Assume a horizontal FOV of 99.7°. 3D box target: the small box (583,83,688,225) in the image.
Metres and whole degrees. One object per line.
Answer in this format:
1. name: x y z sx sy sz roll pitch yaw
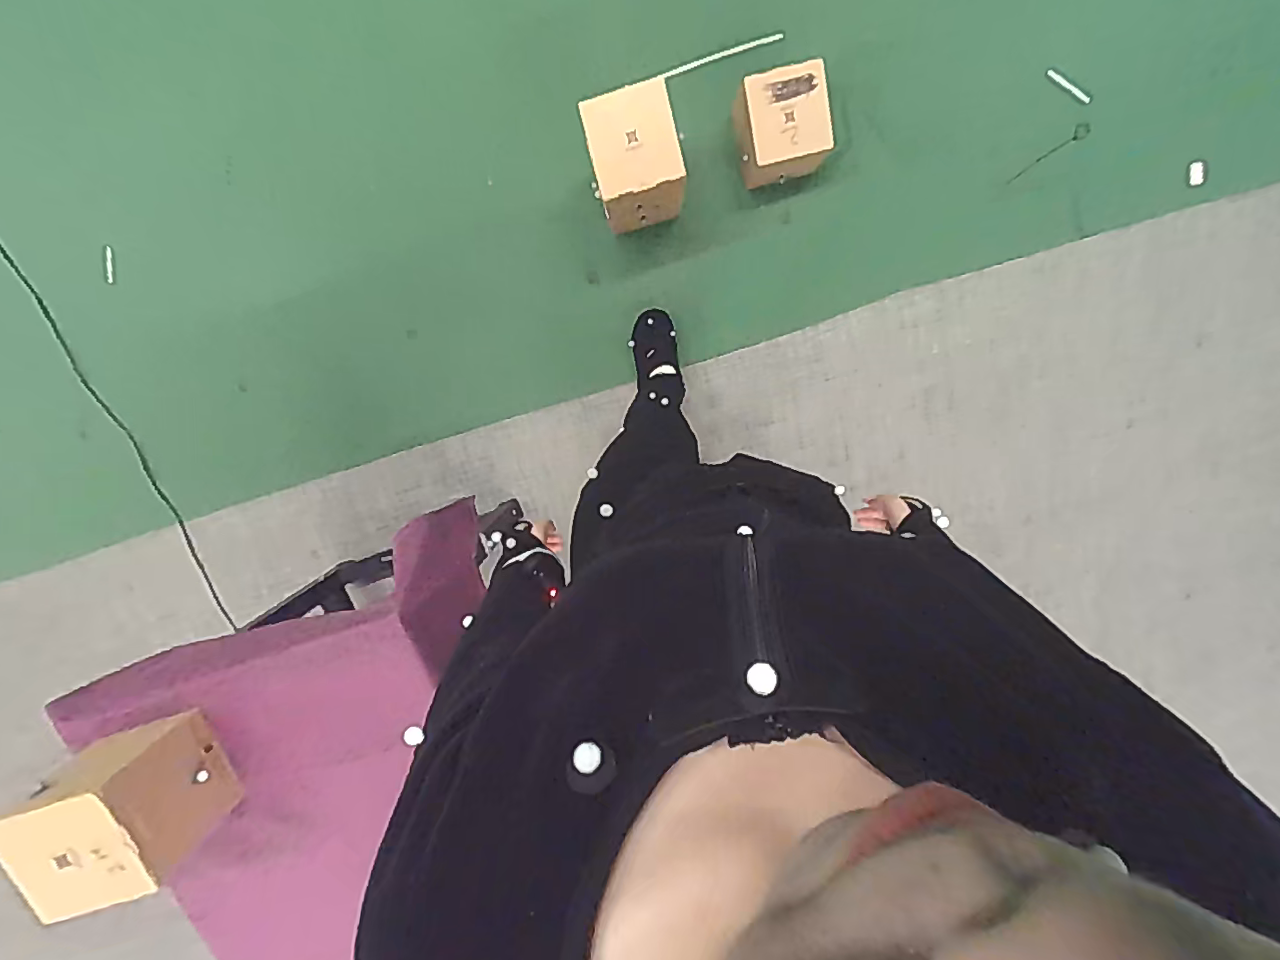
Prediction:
1. small box: -0.006 -0.644 1.090 0.168 0.176 0.179 -14 102 6

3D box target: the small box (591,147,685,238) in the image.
1. small box: -0.001 -0.681 1.249 0.179 0.176 0.168 -14 101 7

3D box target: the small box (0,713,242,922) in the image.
1. small box: -0.737 0.472 0.778 0.179 0.176 0.168 -18 102 3
